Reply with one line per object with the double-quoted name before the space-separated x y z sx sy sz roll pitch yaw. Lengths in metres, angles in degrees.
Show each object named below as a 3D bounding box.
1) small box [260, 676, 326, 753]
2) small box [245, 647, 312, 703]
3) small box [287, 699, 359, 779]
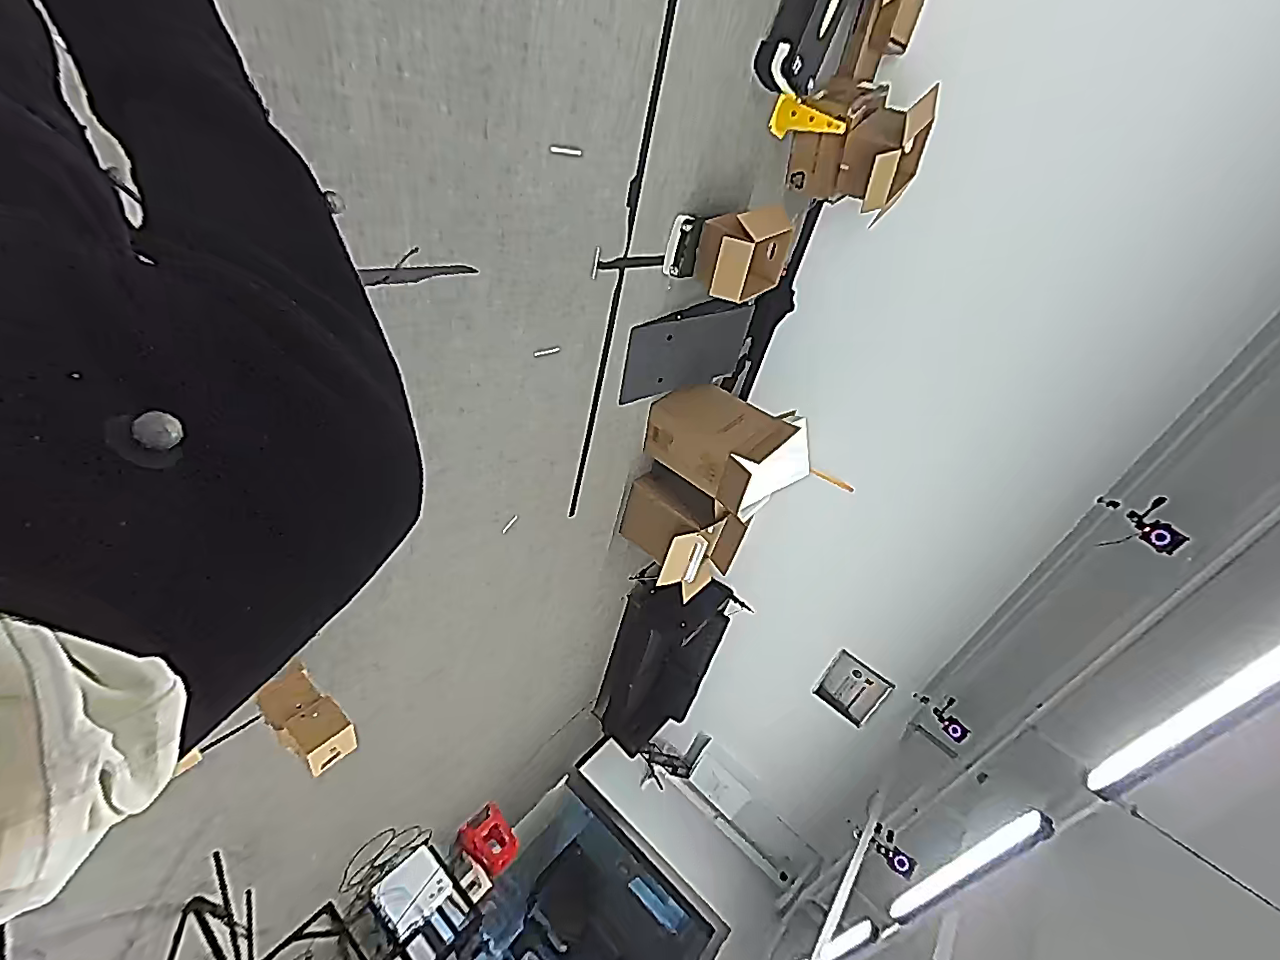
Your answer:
"small box" -1.312 0.894 2.075 0.179 0.176 0.168 -33 148 -41
"small box" -1.427 0.802 2.148 0.168 0.176 0.179 -33 147 -42
"small box" -1.173 0.954 2.005 0.168 0.176 0.179 -32 146 -45
